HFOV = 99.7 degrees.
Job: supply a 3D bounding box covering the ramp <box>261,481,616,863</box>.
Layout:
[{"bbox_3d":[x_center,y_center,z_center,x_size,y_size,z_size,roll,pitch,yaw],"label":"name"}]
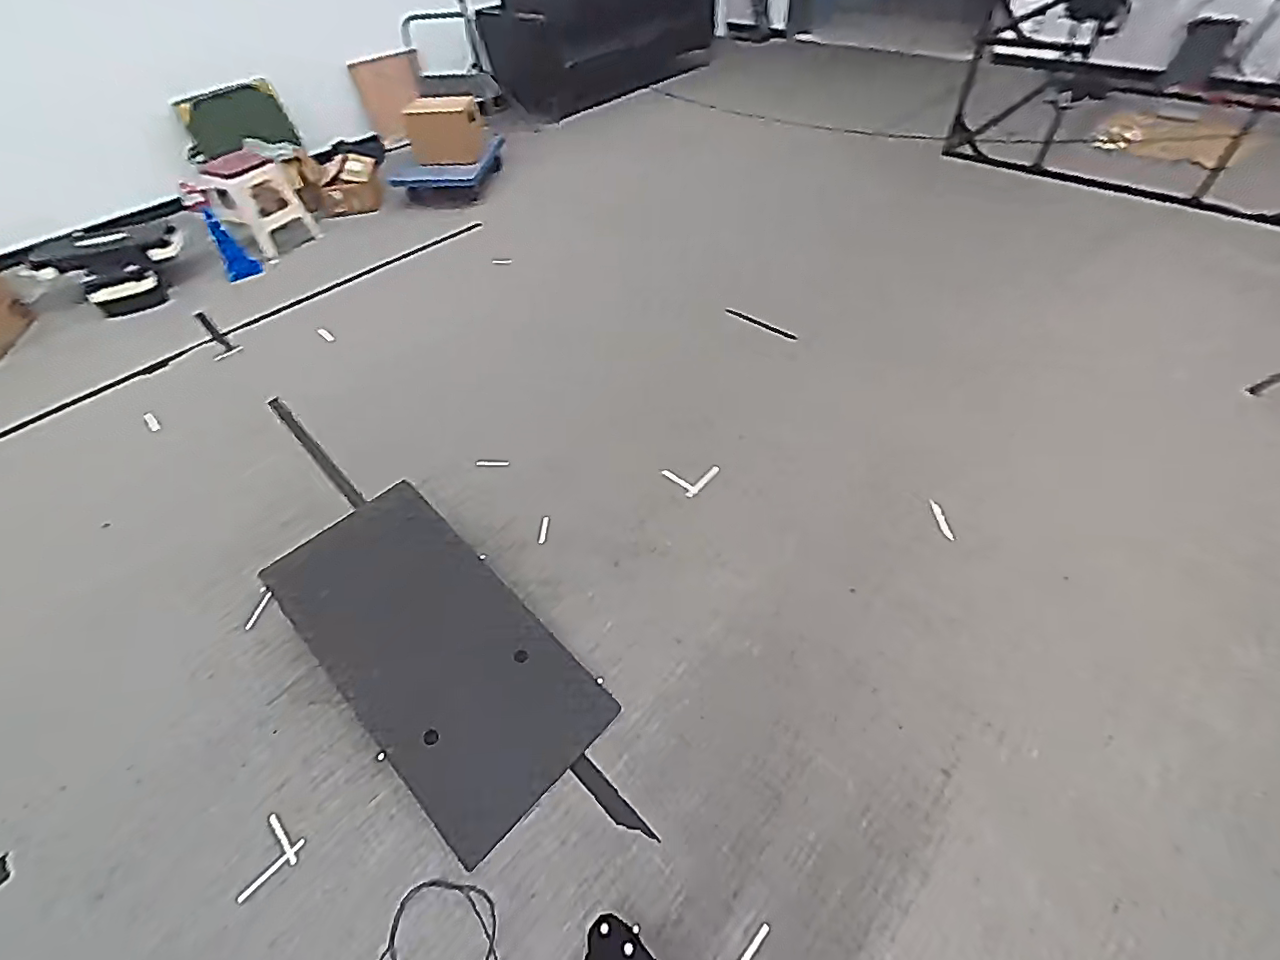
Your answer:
[{"bbox_3d":[-0.575,0.440,1.504,0.991,0.206,0.509,33,58,28],"label":"ramp"}]
